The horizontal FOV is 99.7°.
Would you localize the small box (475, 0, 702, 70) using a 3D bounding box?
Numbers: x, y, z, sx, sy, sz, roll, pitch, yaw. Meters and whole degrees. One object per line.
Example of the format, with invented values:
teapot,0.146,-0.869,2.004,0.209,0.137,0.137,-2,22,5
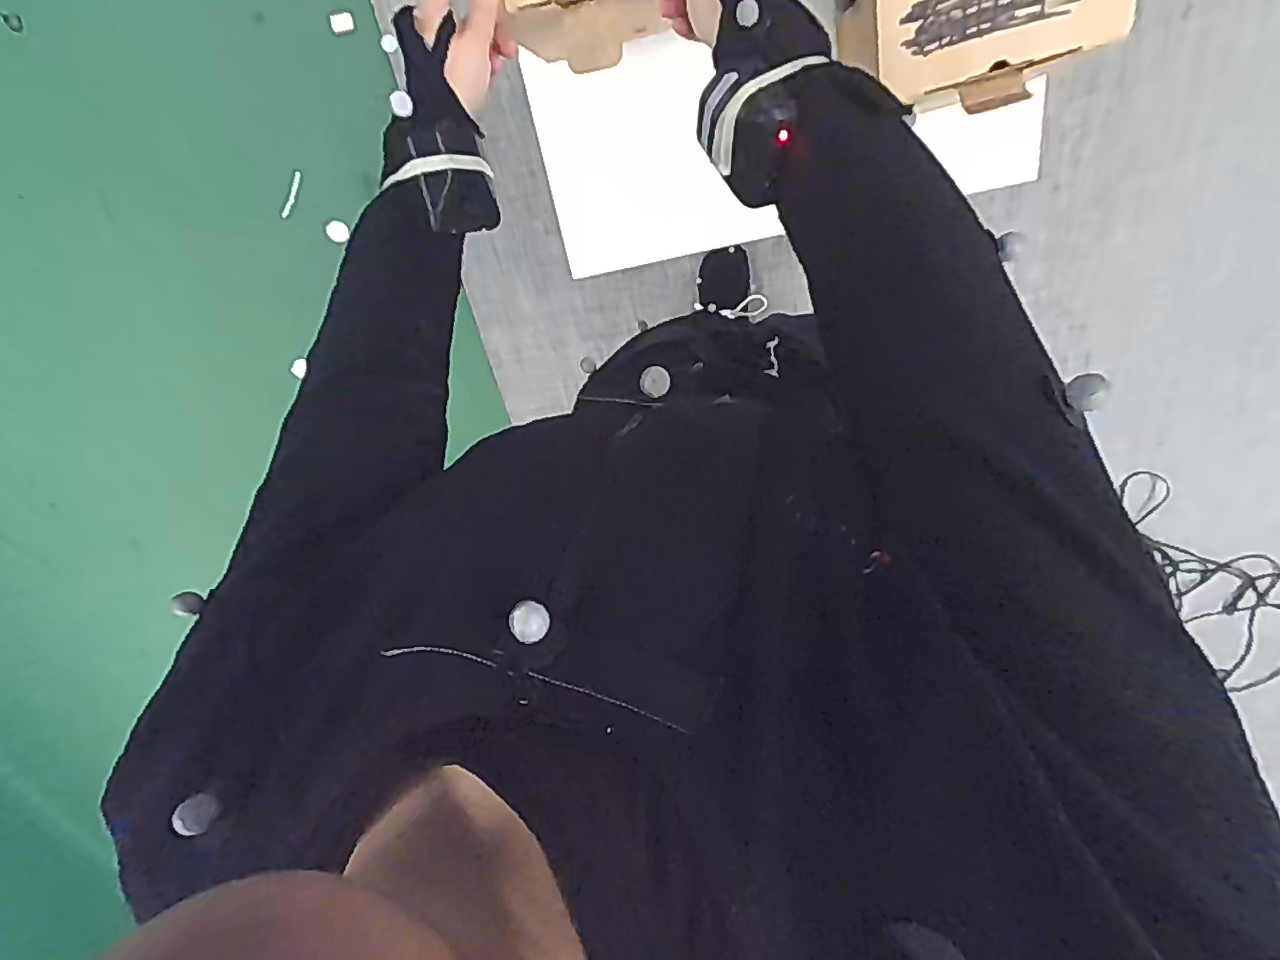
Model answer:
small box,-0.043,-0.460,0.426,0.168,0.176,0.179,-5,118,12
